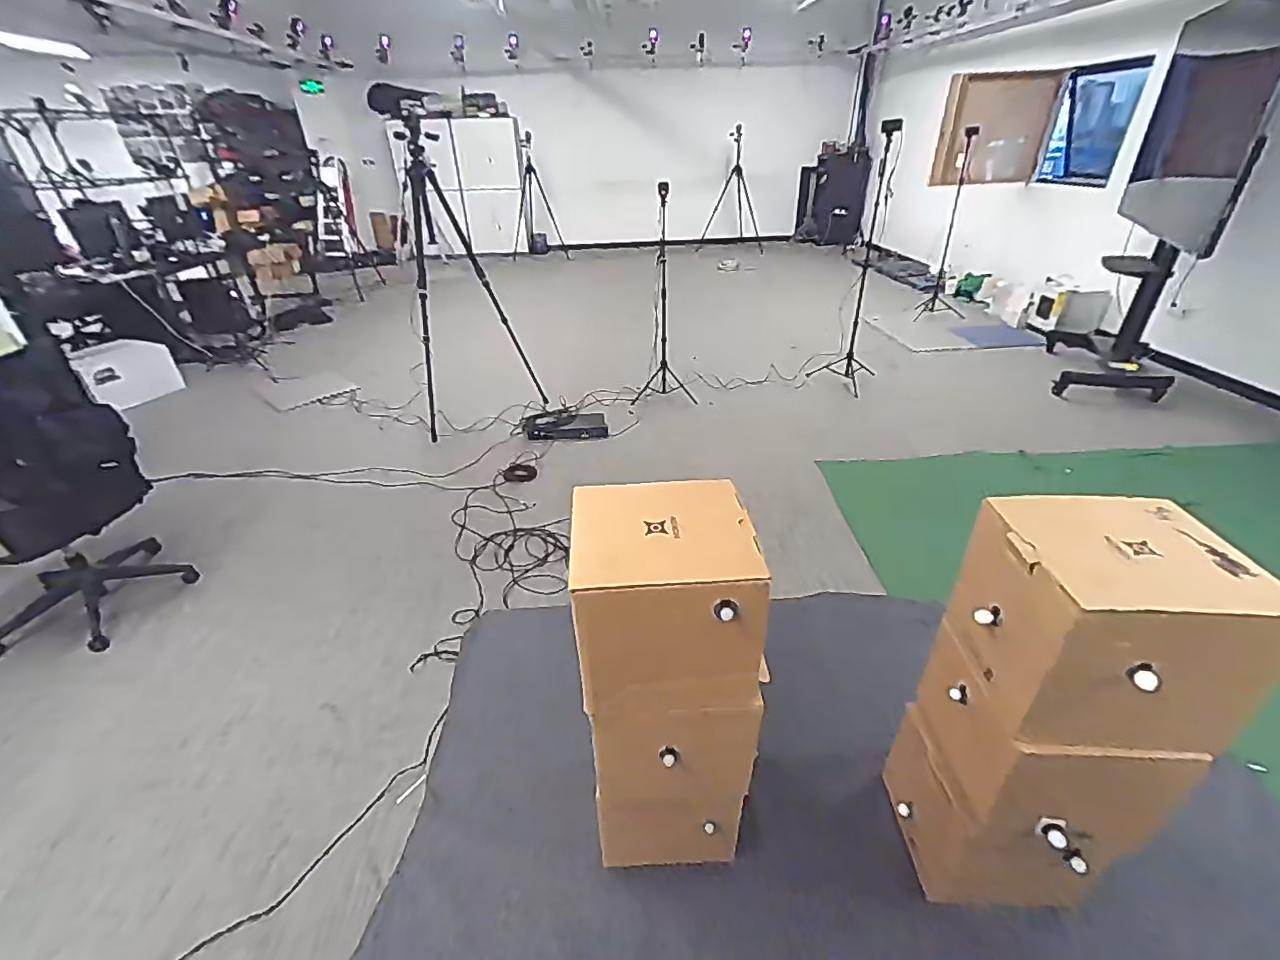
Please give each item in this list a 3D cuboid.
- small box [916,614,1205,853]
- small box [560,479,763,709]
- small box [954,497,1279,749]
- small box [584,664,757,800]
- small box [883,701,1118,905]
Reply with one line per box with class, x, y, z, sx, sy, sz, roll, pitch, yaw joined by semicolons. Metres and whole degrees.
small box;0.429;0.271;0.597;0.168;0.176;0.179;-1;32;5
small box;0.016;0.116;0.561;0.179;0.176;0.168;-3;32;-4
small box;0.426;0.130;0.514;0.179;0.176;0.168;0;31;6
small box;0.030;0.254;0.646;0.179;0.176;0.168;-3;32;-1
small box;0.436;0.406;0.687;0.179;0.176;0.168;-1;31;3
